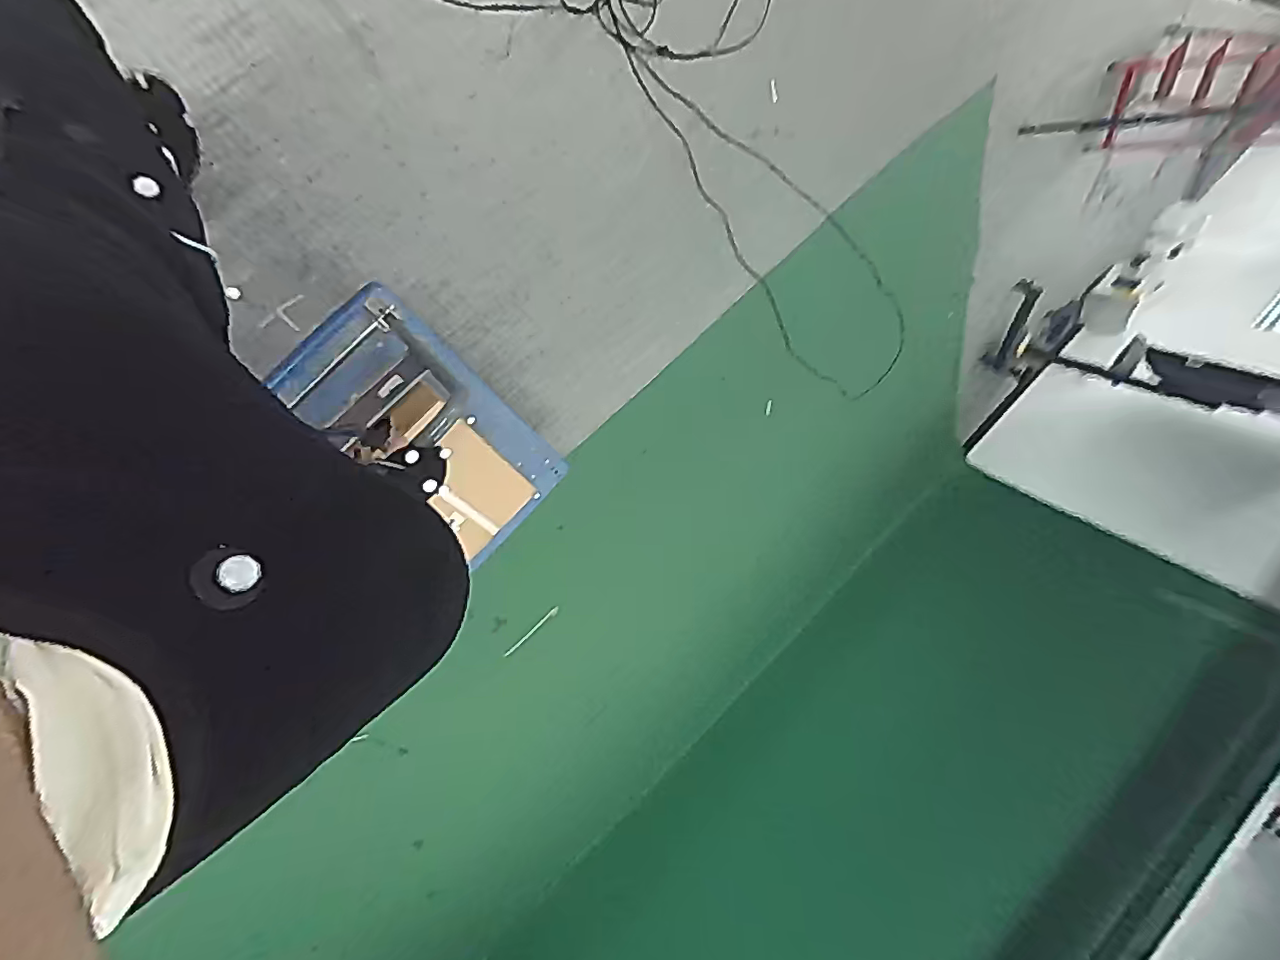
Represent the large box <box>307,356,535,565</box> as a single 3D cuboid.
[{"bbox_3d":[-0.563,-0.046,1.417,0.320,0.320,0.408,-46,140,-6],"label":"large box"}]
